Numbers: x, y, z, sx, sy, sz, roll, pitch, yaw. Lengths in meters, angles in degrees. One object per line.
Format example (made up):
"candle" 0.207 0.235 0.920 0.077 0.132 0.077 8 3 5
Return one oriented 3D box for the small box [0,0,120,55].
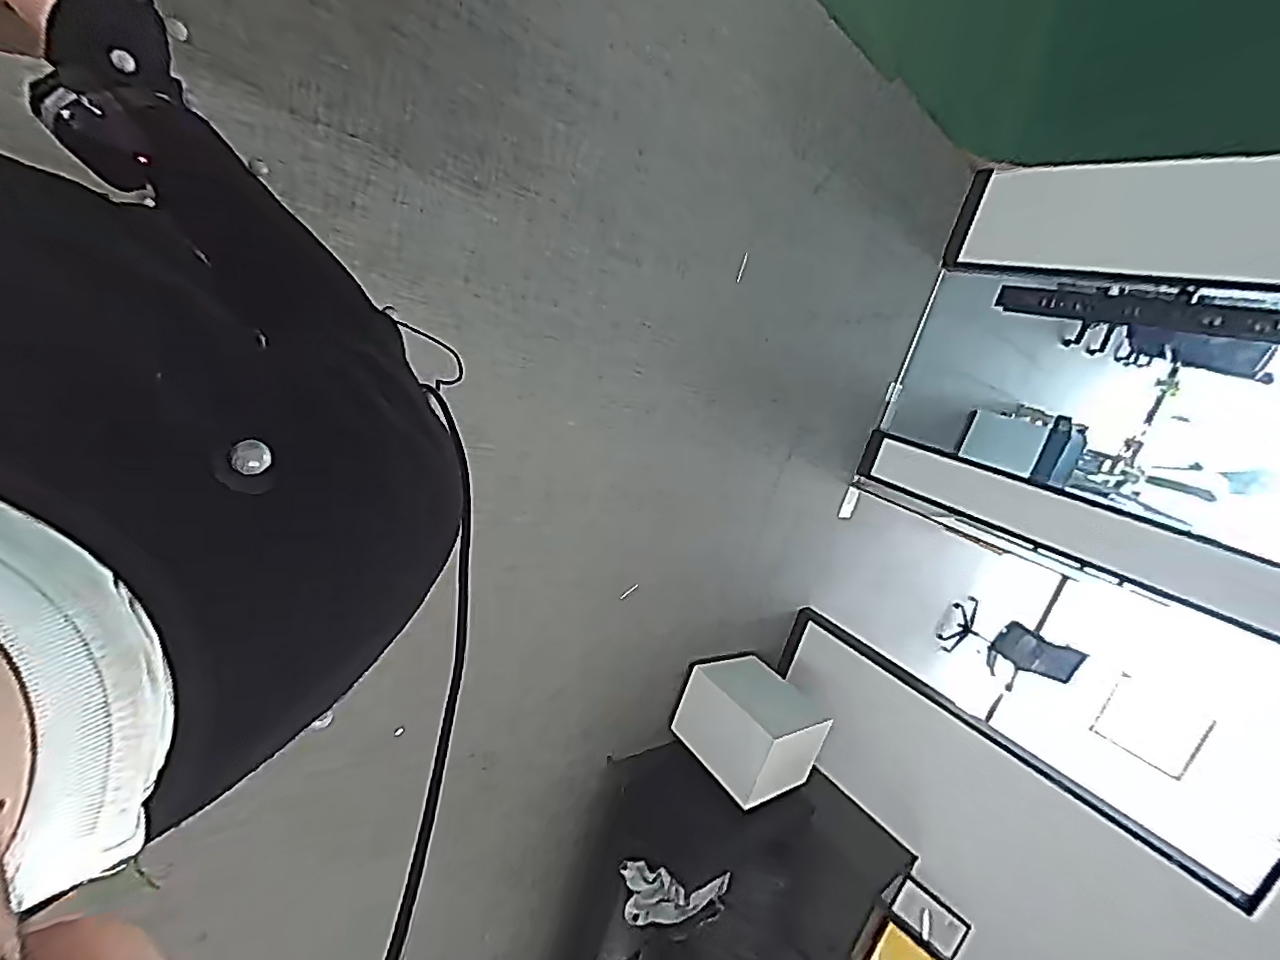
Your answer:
"small box" -0.524 -0.458 0.397 0.179 0.176 0.168 -9 103 -31
